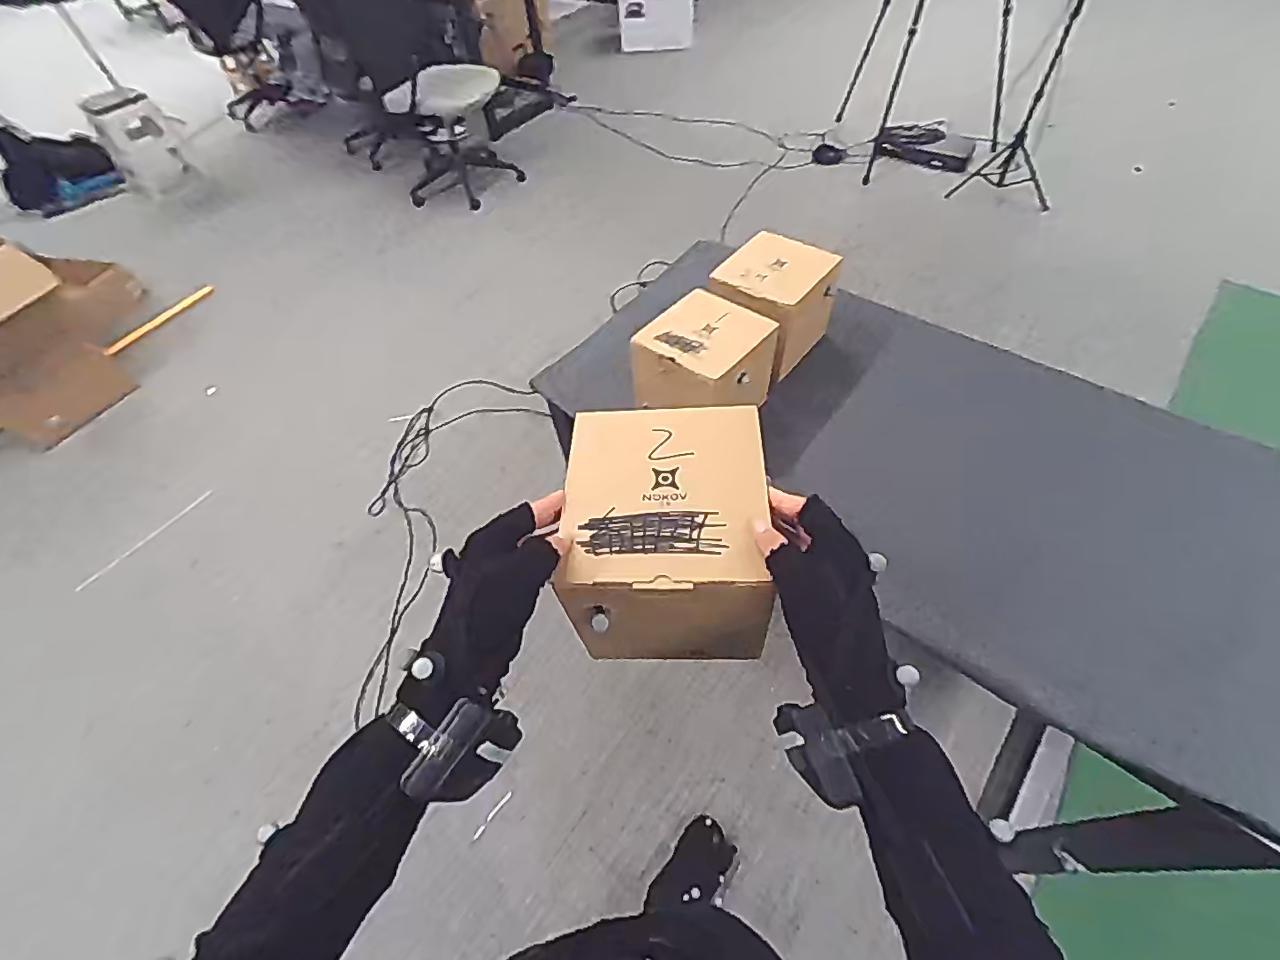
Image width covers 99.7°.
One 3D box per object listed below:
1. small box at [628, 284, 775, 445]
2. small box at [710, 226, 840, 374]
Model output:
[{"bbox_3d":[0.102,-0.190,0.908,0.168,0.176,0.179,34,61,25],"label":"small box"},{"bbox_3d":[0.238,-0.331,1.000,0.168,0.176,0.179,33,63,25],"label":"small box"}]
